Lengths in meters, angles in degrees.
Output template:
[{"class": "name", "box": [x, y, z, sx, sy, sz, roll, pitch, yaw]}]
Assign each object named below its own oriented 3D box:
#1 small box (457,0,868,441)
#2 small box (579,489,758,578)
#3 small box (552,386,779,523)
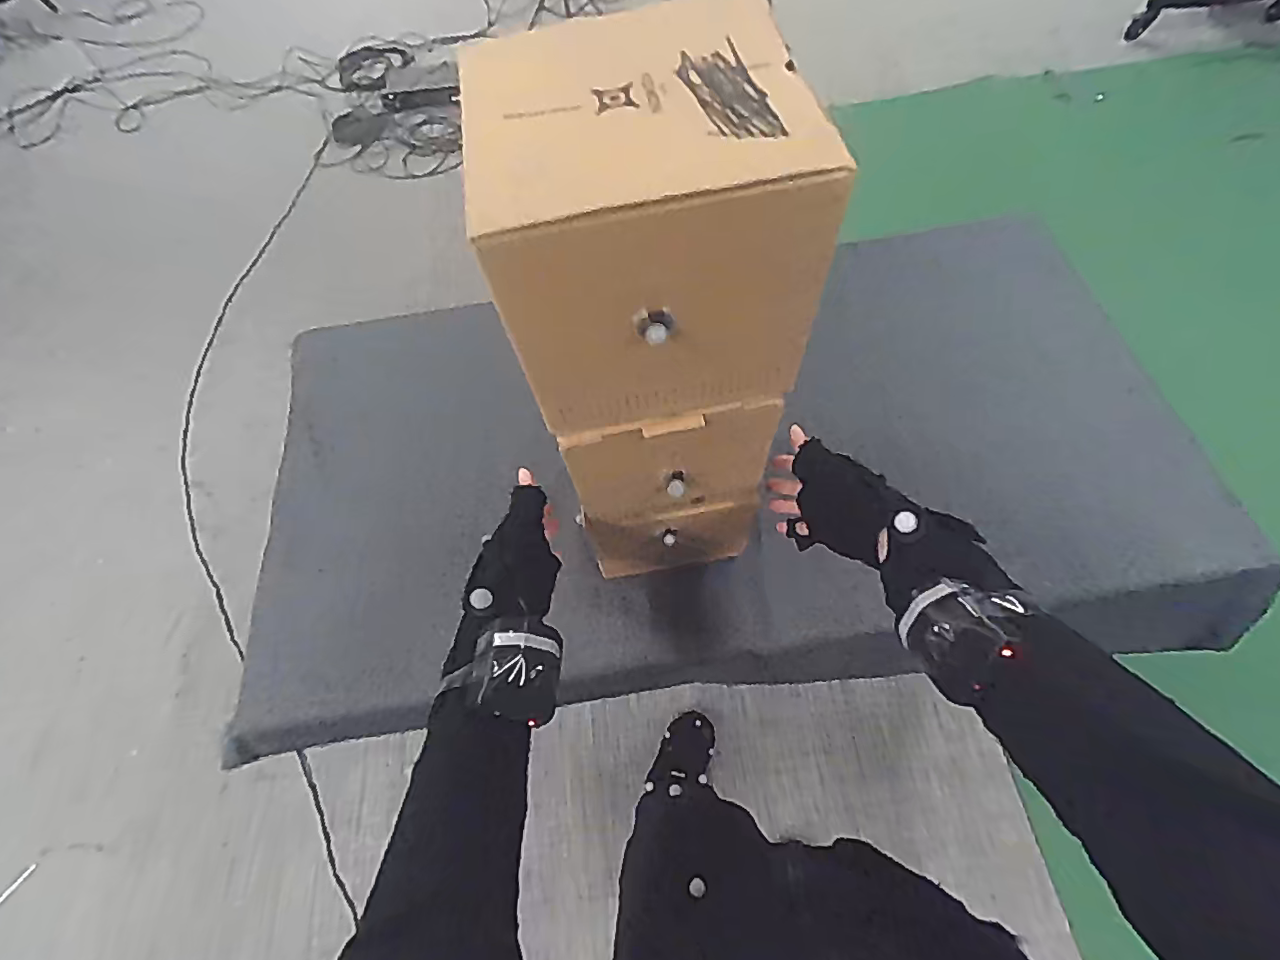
[{"class": "small box", "box": [0.004, -0.146, 0.338, 0.179, 0.176, 0.168, -13, 63, -3]}, {"class": "small box", "box": [0.024, 0.005, 0.629, 0.179, 0.176, 0.168, -10, 64, -1]}, {"class": "small box", "box": [0.012, -0.073, 0.486, 0.168, 0.176, 0.179, -12, 64, -1]}]
